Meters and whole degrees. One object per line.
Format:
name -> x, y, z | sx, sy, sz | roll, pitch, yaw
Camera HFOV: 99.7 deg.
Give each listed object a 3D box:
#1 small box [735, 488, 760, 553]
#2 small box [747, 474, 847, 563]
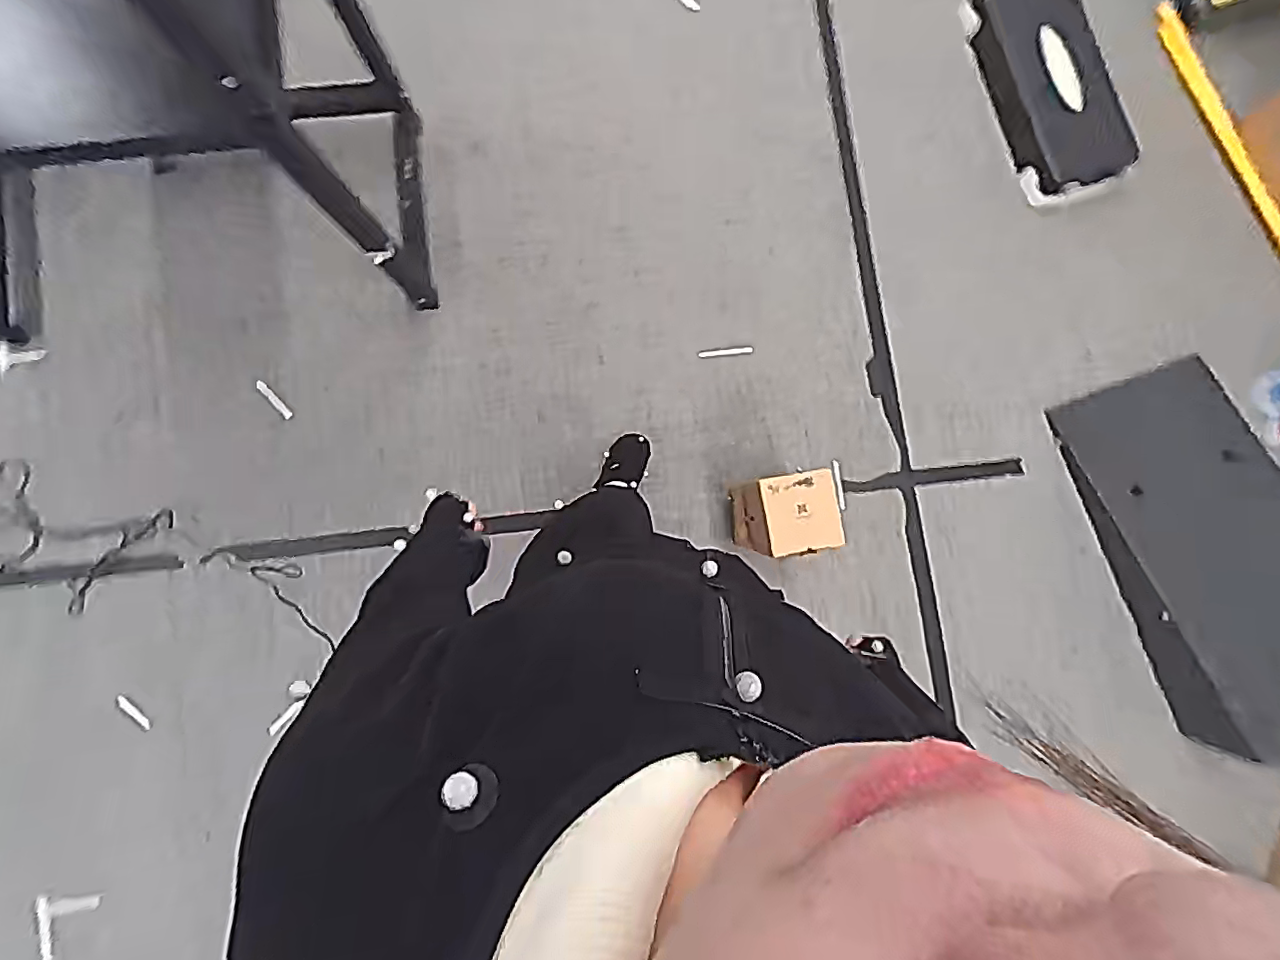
small box -> 0.351, 0.102, 1.422 | 0.179, 0.176, 0.168 | -4, 87, -2
small box -> 0.357, 0.086, 1.258 | 0.168, 0.176, 0.179 | -9, 87, -3
